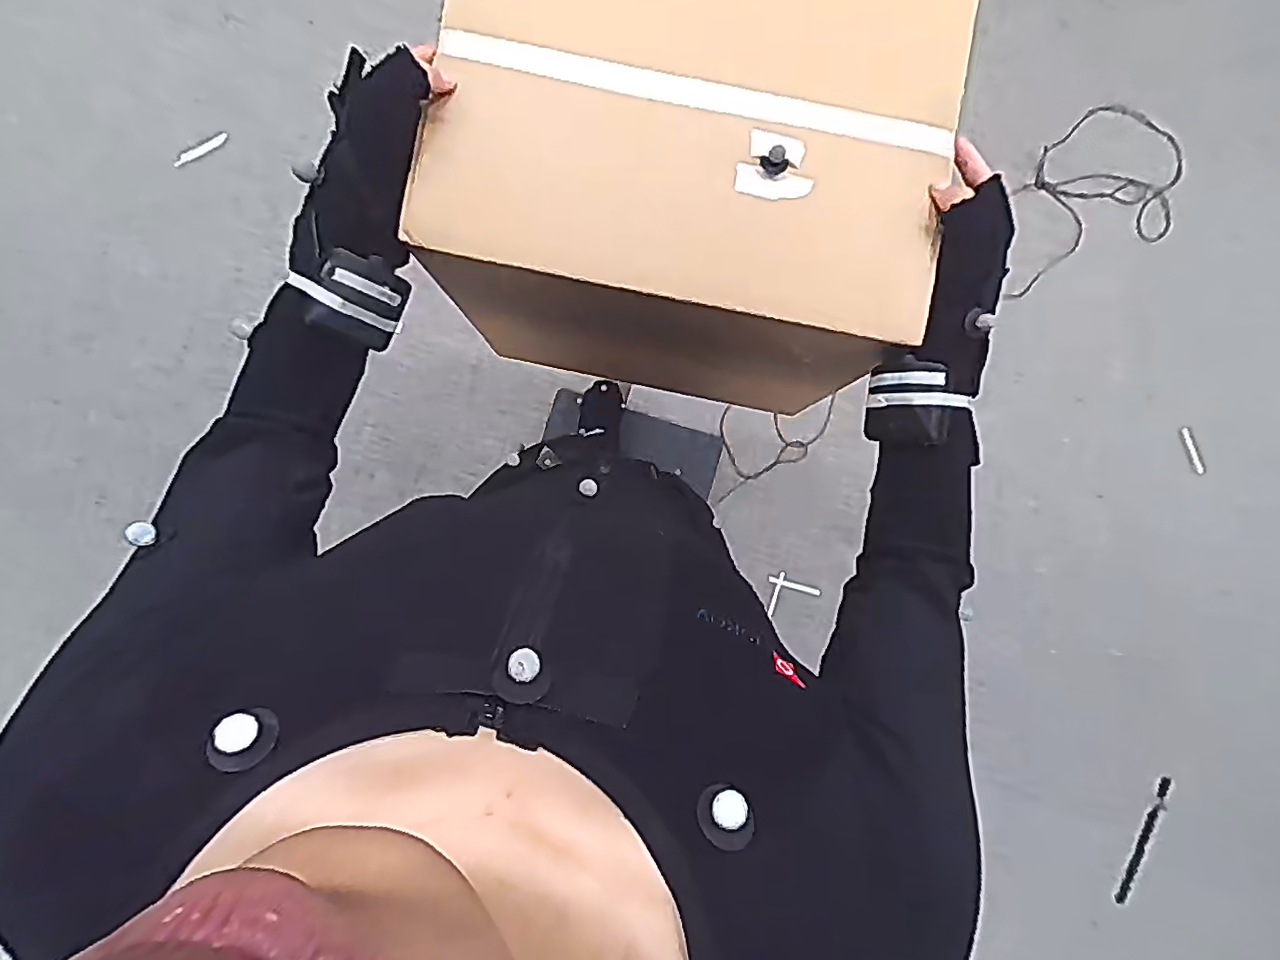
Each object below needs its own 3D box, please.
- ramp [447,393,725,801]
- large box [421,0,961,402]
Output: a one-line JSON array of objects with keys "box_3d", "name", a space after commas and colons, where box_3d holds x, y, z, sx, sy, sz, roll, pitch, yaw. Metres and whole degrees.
[{"box_3d": [-0.128, 0.286, 1.461, 0.509, 0.206, 0.991, 15, 91, 1], "name": "ramp"}, {"box_3d": [0.041, -0.295, 0.583, 0.408, 0.320, 0.320, 11, 87, -1], "name": "large box"}]
